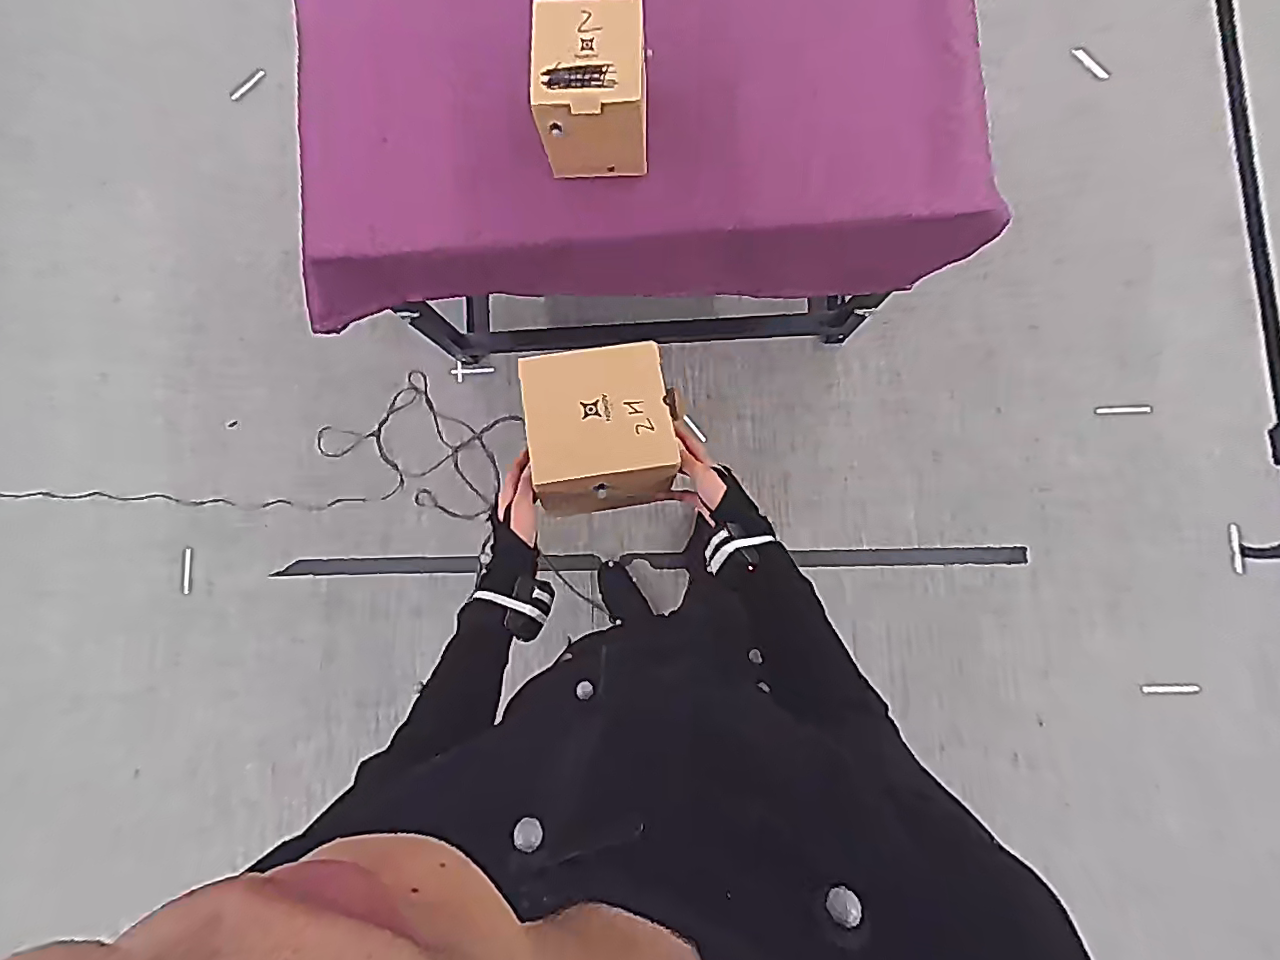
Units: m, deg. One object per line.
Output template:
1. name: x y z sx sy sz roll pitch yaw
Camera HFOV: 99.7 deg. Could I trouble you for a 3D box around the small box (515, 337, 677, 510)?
1. small box: -0.057 -0.066 0.718 0.179 0.176 0.168 -9 74 -6
